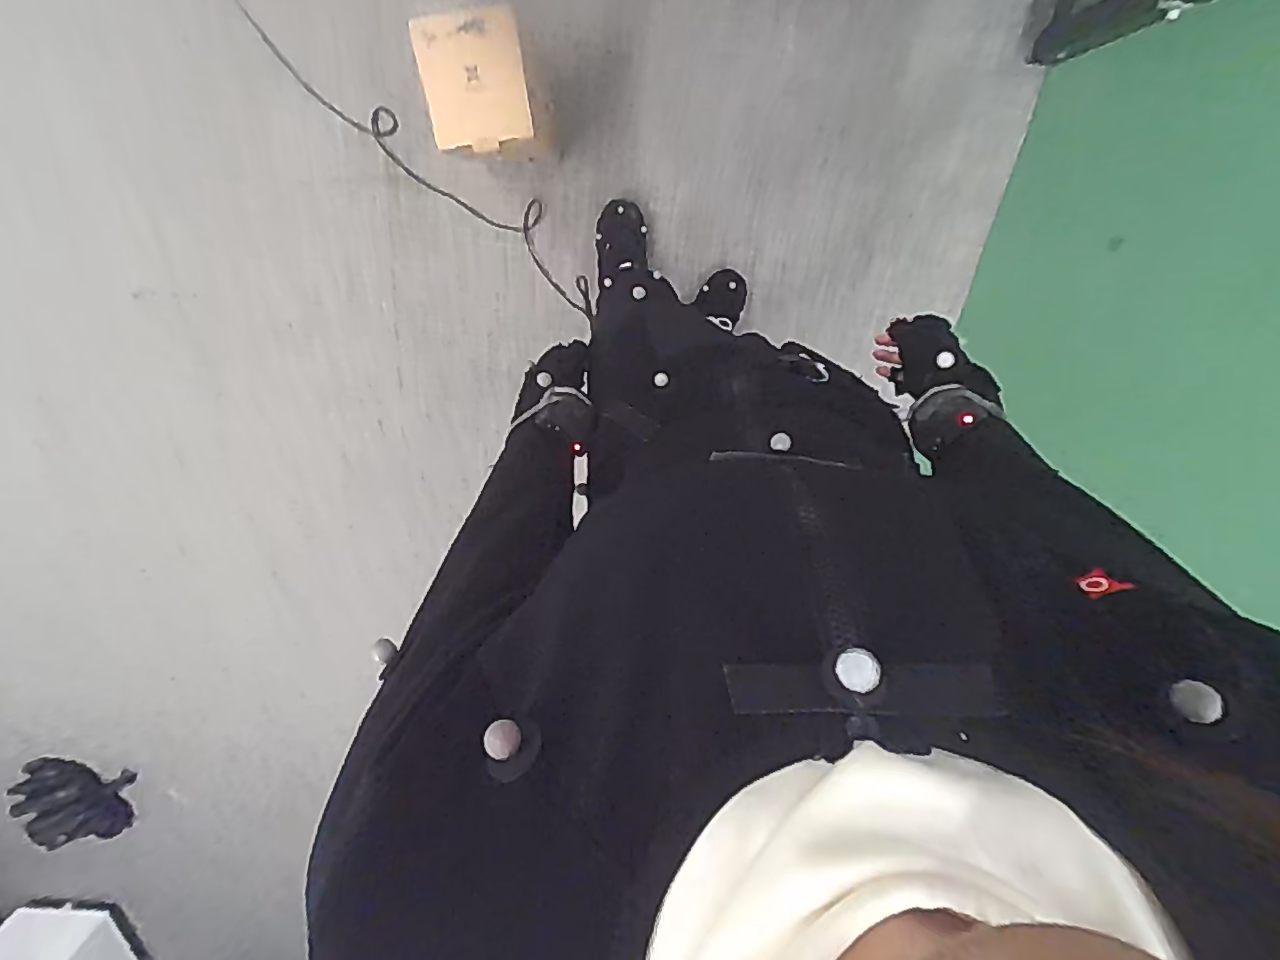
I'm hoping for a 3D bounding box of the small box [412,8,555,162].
[{"bbox_3d":[-0.254,-0.658,0.928,0.168,0.176,0.179,-6,114,7],"label":"small box"}]
